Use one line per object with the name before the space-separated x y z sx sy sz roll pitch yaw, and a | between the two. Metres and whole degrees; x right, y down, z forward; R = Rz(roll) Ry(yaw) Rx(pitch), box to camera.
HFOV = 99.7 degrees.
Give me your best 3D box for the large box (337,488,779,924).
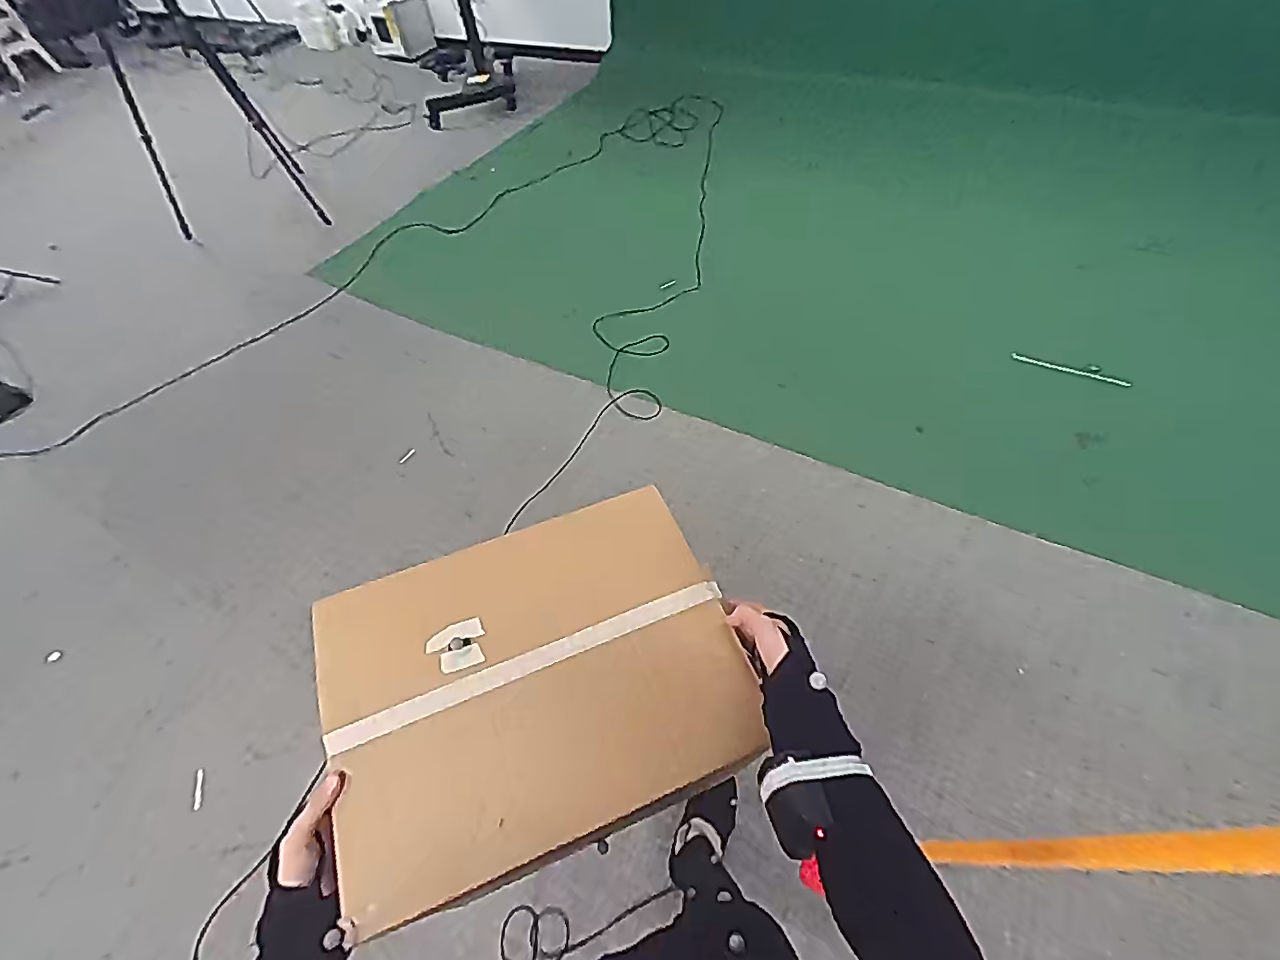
large box | -0.097 0.269 0.691 0.408 0.320 0.320 -19 58 -11
